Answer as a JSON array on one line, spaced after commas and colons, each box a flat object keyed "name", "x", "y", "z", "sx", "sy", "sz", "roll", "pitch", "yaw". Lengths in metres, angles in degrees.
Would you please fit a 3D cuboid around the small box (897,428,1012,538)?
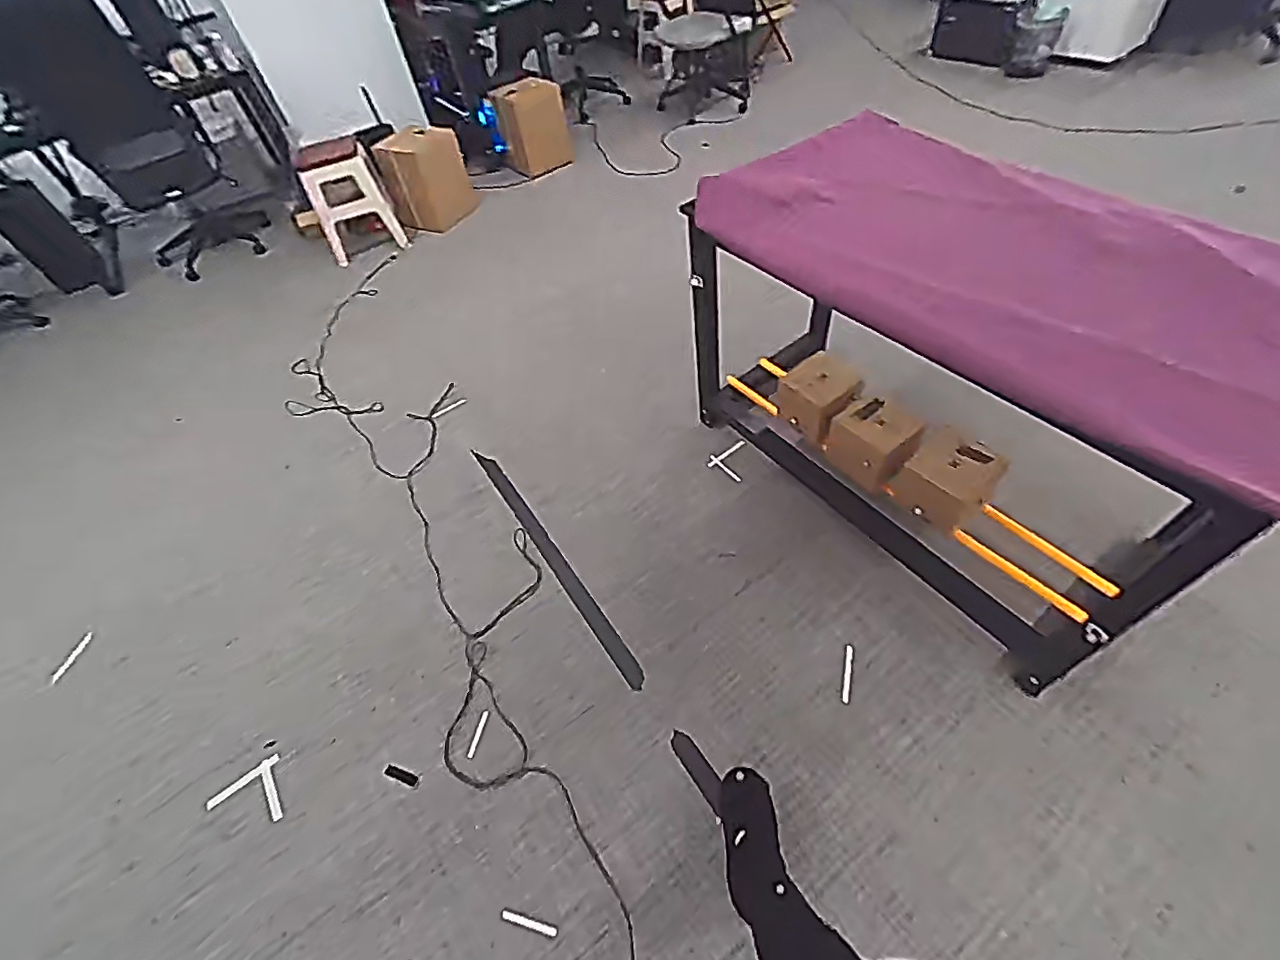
[{"name": "small box", "x": 0.777, "y": 0.009, "z": 1.358, "sx": 0.179, "sy": 0.176, "sz": 0.168, "roll": -36, "pitch": 54, "yaw": -15}]

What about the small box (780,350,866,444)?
[{"name": "small box", "x": 0.531, "y": -0.243, "z": 1.597, "sx": 0.179, "sy": 0.176, "sz": 0.168, "roll": -34, "pitch": 55, "yaw": -14}]
